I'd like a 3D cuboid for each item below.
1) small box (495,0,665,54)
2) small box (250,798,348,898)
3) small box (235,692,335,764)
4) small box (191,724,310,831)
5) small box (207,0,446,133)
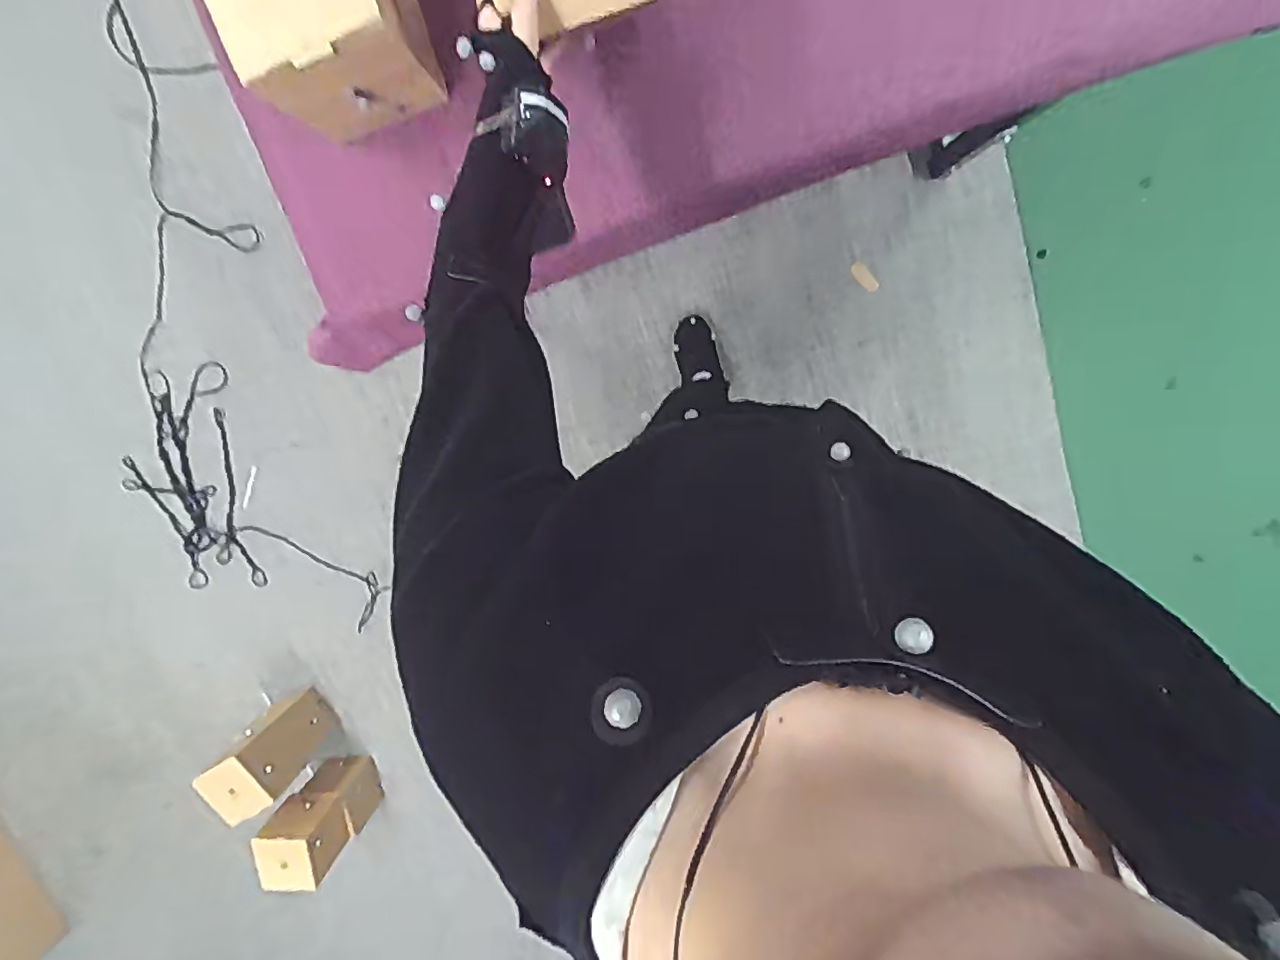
[{"bbox_3d":[-0.074,-0.547,0.524,0.168,0.176,0.179,-14,126,6],"label":"small box"},{"bbox_3d":[-0.986,1.071,1.581,0.168,0.176,0.179,-2,101,5],"label":"small box"},{"bbox_3d":[-1.095,0.798,1.691,0.179,0.176,0.168,-26,100,10],"label":"small box"},{"bbox_3d":[-1.091,0.836,1.532,0.168,0.176,0.179,-31,99,9],"label":"small box"},{"bbox_3d":[-0.345,-0.519,0.599,0.168,0.176,0.179,-16,102,8],"label":"small box"}]
